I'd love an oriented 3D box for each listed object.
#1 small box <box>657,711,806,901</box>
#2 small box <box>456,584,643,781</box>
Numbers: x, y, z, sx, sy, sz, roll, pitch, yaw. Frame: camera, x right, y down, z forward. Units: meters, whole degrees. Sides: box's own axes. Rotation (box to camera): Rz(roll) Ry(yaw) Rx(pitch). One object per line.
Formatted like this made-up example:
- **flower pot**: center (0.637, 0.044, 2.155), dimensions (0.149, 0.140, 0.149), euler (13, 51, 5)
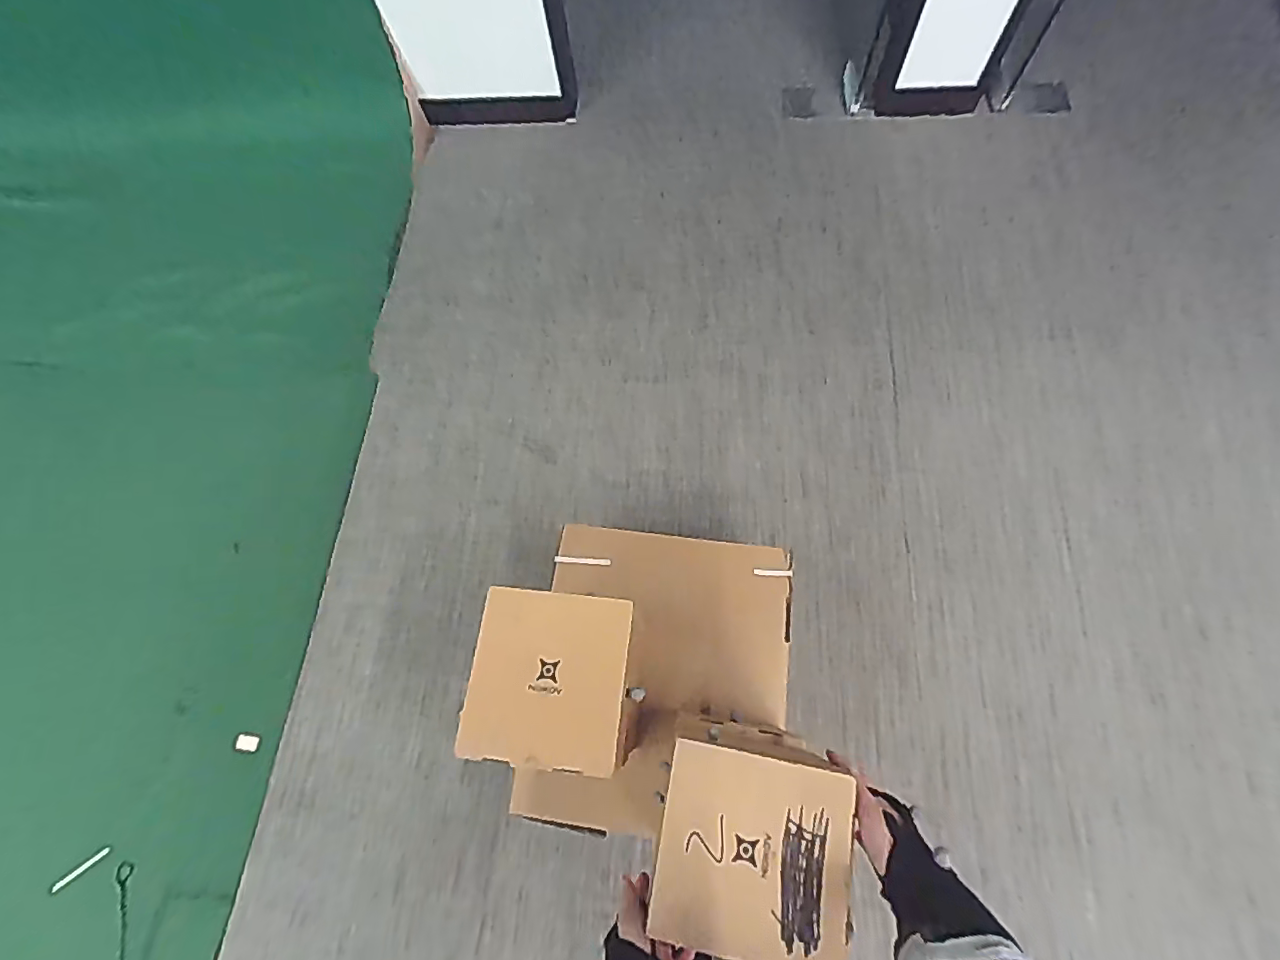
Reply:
- **small box**: center (0.118, 0.418, 0.725), dimensions (0.168, 0.176, 0.179), euler (8, 68, 7)
- **small box**: center (-0.090, 0.233, 0.640), dimensions (0.168, 0.176, 0.179), euler (6, 71, 7)
